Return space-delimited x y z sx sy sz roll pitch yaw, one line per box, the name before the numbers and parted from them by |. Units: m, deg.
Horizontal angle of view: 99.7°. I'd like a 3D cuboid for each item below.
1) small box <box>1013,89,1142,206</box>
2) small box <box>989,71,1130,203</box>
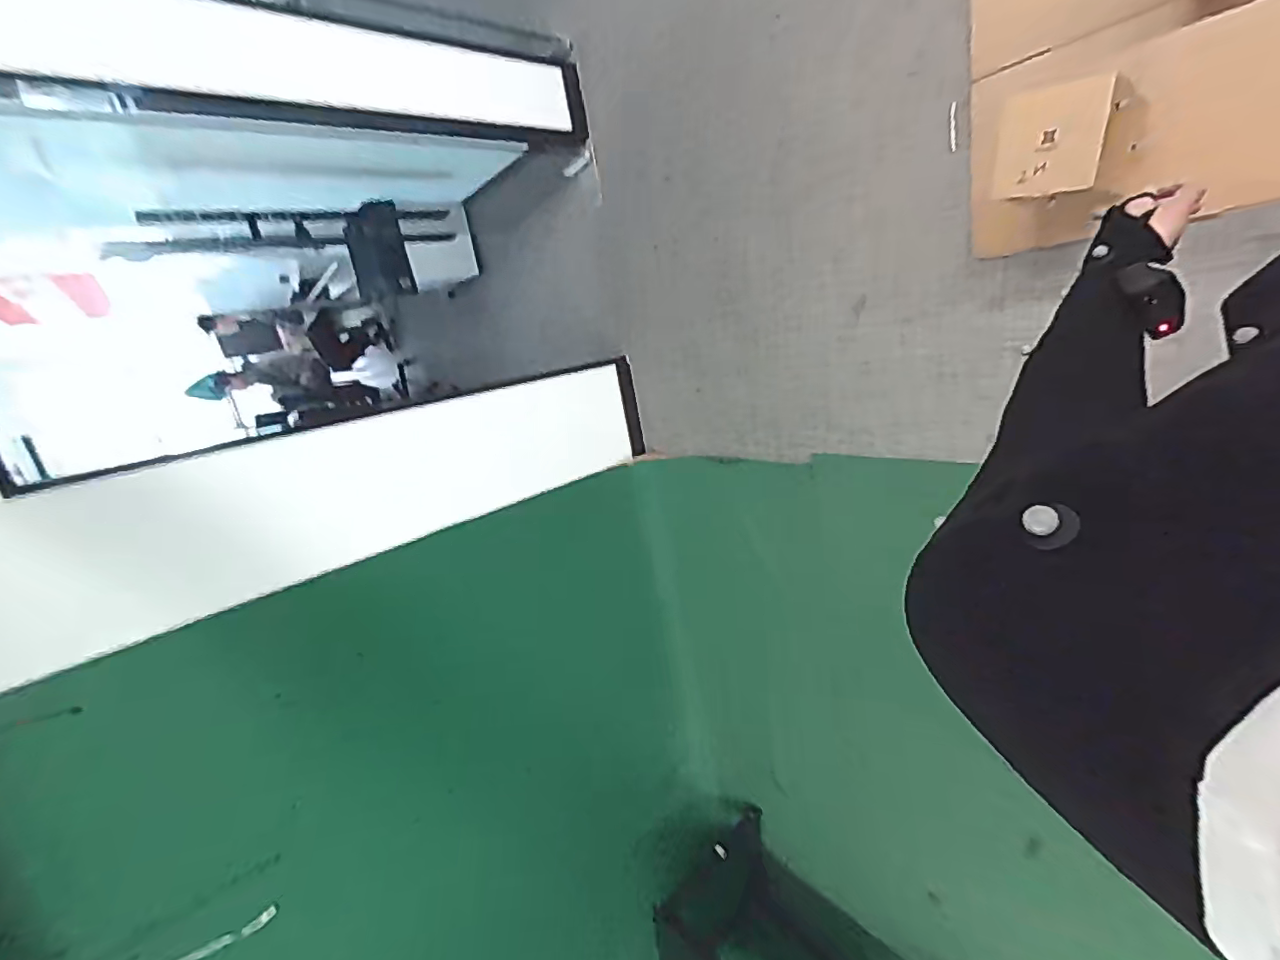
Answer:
small box | 0.913 -0.682 1.130 0.168 0.176 0.179 19 121 46
small box | 0.794 -0.634 1.024 0.168 0.176 0.179 19 121 46
